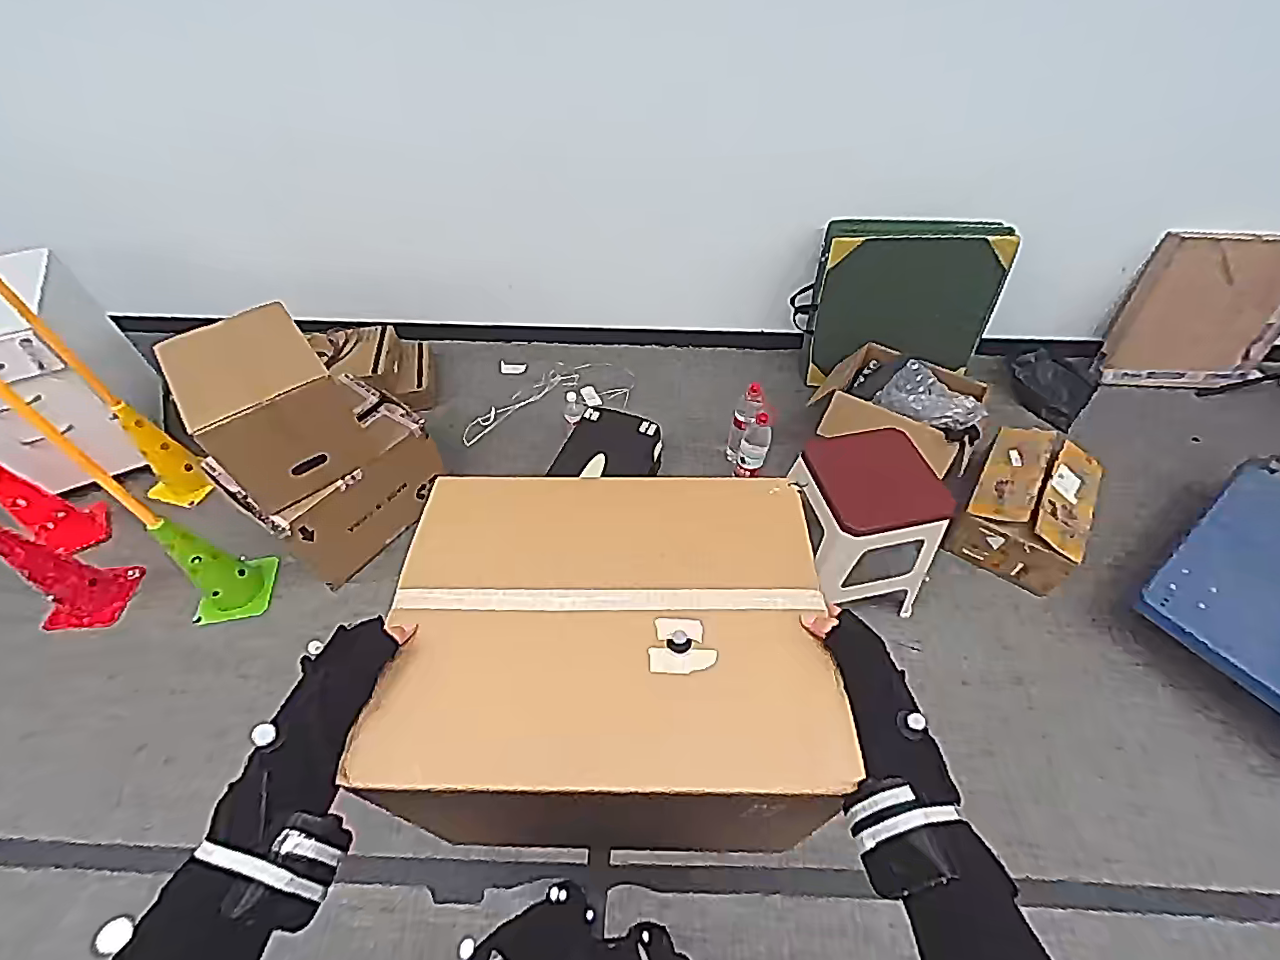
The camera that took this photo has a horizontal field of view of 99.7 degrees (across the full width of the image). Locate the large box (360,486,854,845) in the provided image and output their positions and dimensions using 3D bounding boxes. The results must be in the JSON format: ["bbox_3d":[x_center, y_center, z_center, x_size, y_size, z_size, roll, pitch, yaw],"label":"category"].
[{"bbox_3d":[-0.026,0.221,0.636,0.408,0.320,0.320,1,49,1],"label":"large box"}]
